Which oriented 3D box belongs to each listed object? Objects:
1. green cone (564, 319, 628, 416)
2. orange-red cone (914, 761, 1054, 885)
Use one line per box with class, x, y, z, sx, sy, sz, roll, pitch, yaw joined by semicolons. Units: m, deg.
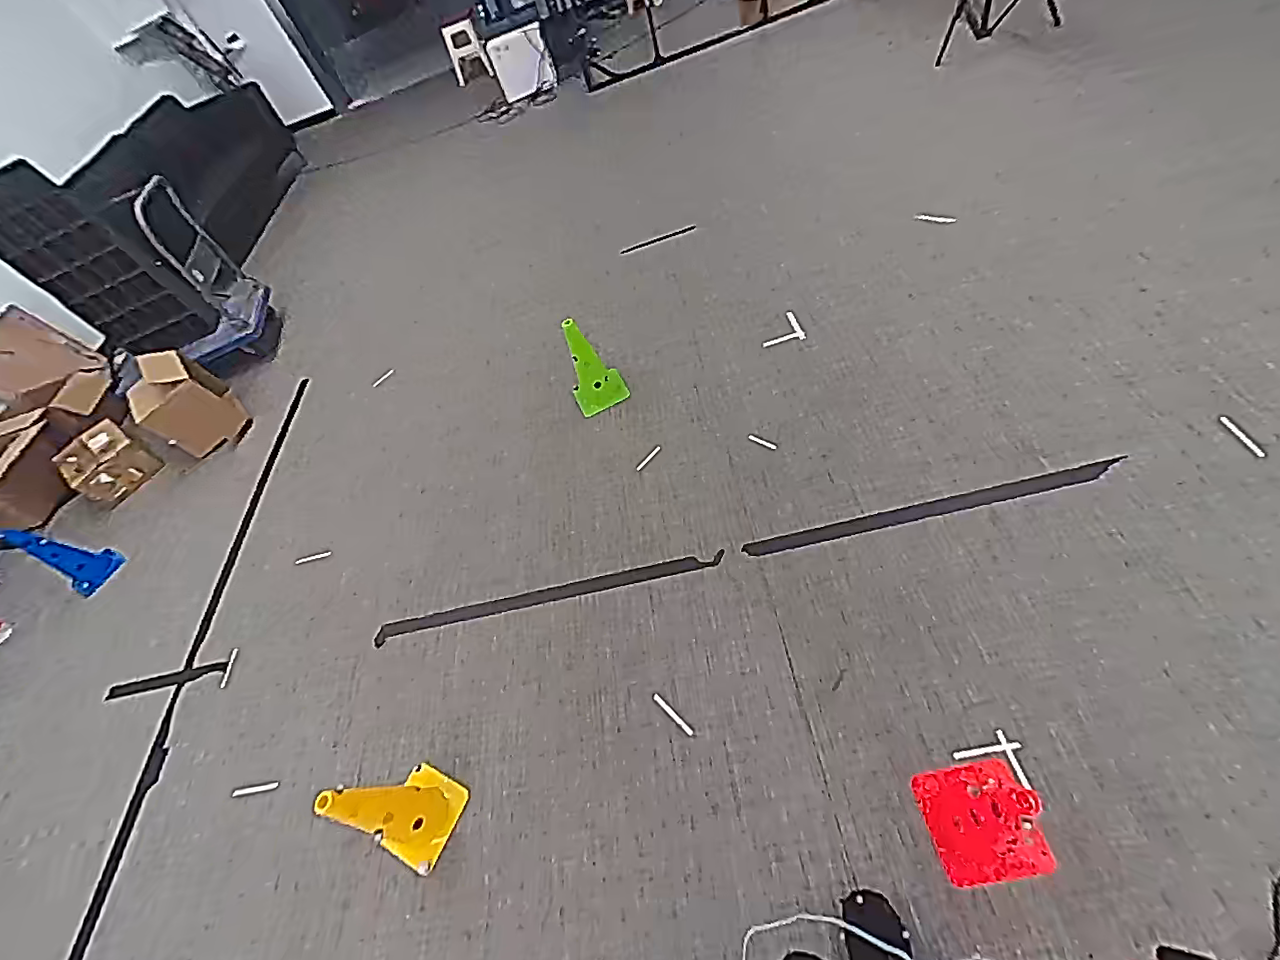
green cone;-0.209;-0.449;2.047;0.202;0.368;0.200;-27;51;-2
orange-red cone;0.635;0.588;0.960;0.199;0.360;0.198;-16;50;10
